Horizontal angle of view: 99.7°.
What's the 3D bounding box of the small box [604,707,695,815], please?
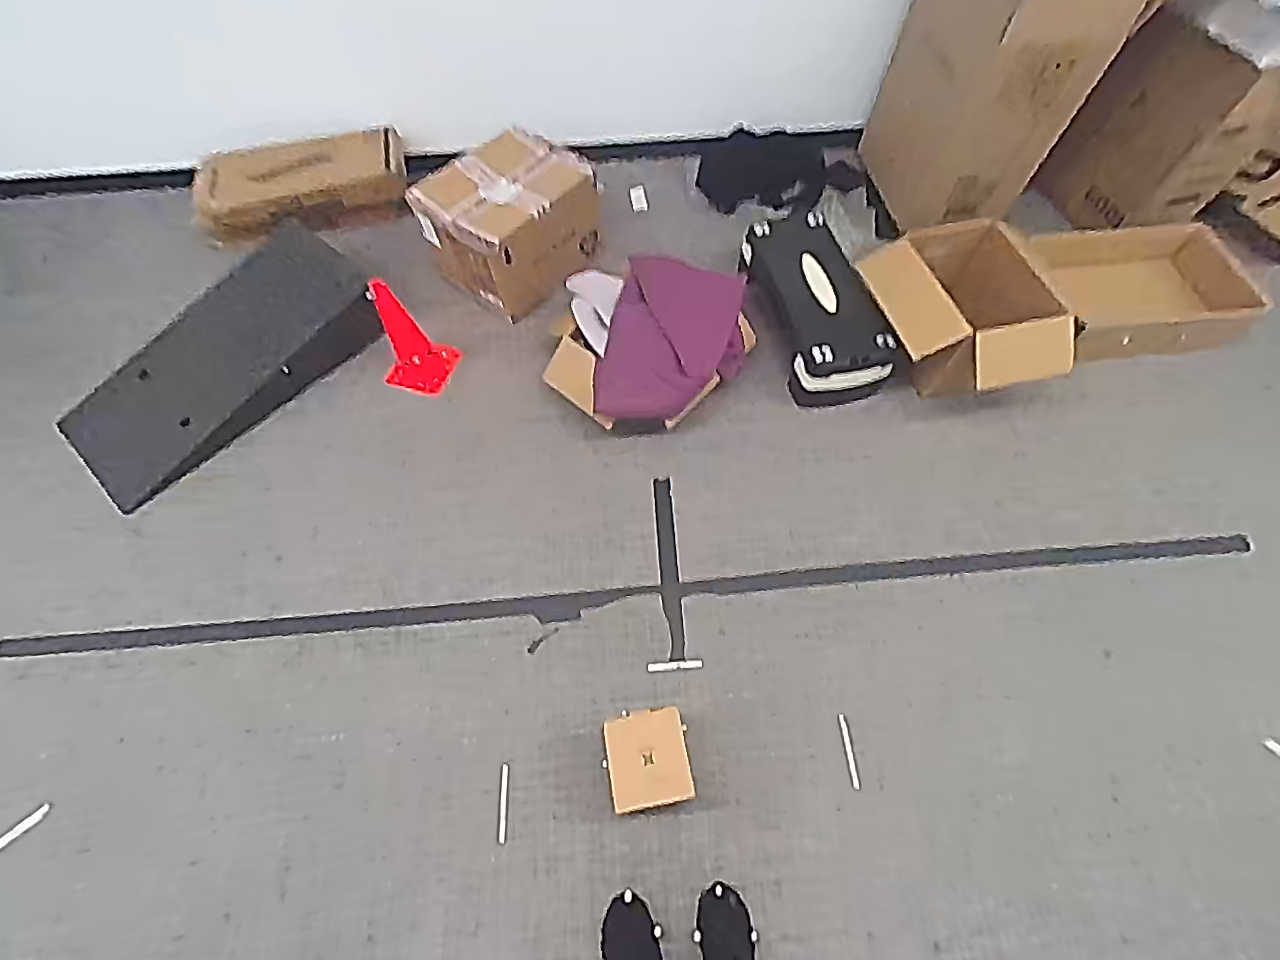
[{"bbox_3d":[0.018,0.612,1.182,0.168,0.176,0.179,-11,64,-4],"label":"small box"}]
